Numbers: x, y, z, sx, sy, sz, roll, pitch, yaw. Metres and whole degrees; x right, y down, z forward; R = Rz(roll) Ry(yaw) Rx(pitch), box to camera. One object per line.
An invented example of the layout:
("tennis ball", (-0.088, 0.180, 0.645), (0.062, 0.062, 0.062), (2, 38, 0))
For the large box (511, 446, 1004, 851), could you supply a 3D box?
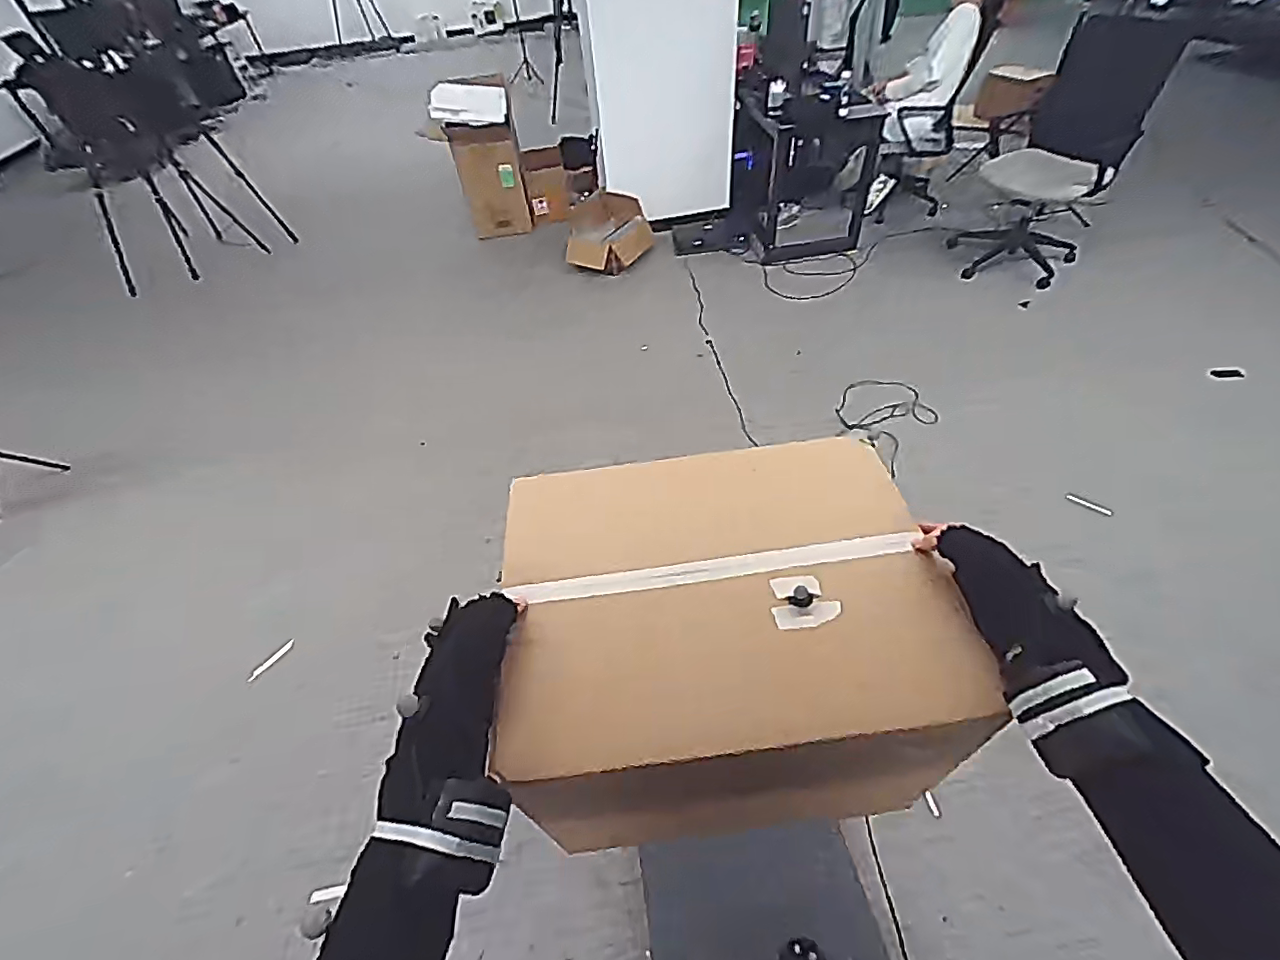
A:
("large box", (0.089, 0.198, 0.631), (0.408, 0.320, 0.320), (-7, 47, 0))
